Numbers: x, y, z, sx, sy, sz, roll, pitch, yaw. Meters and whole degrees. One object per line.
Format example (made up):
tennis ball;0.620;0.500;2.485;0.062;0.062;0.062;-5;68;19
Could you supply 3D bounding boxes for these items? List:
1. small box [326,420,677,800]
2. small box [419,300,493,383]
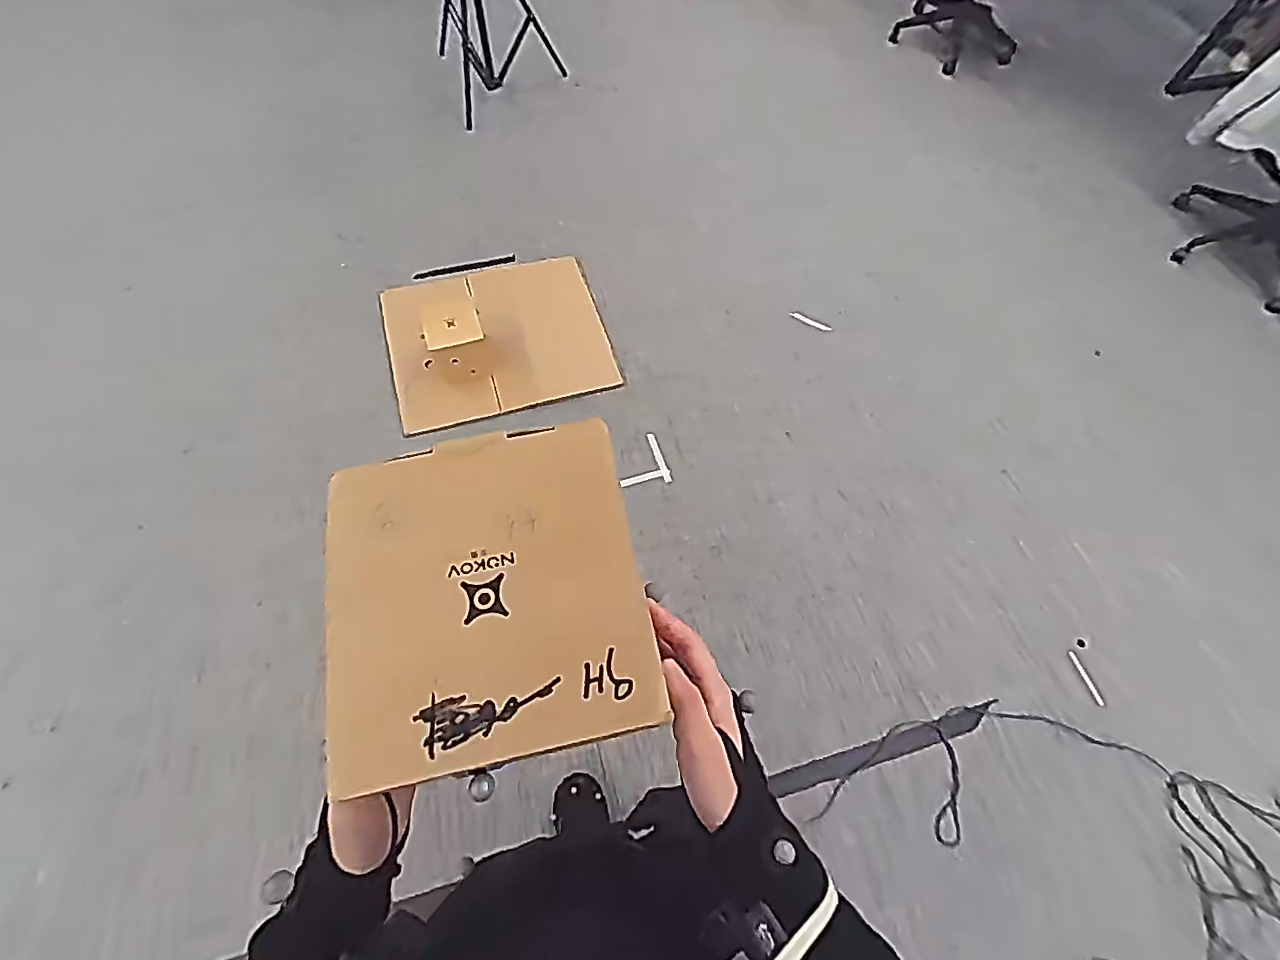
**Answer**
small box;-0.077;0.089;0.358;0.168;0.176;0.179;-13;65;-3
small box;-0.568;-0.425;1.688;0.168;0.176;0.179;-17;66;-12
